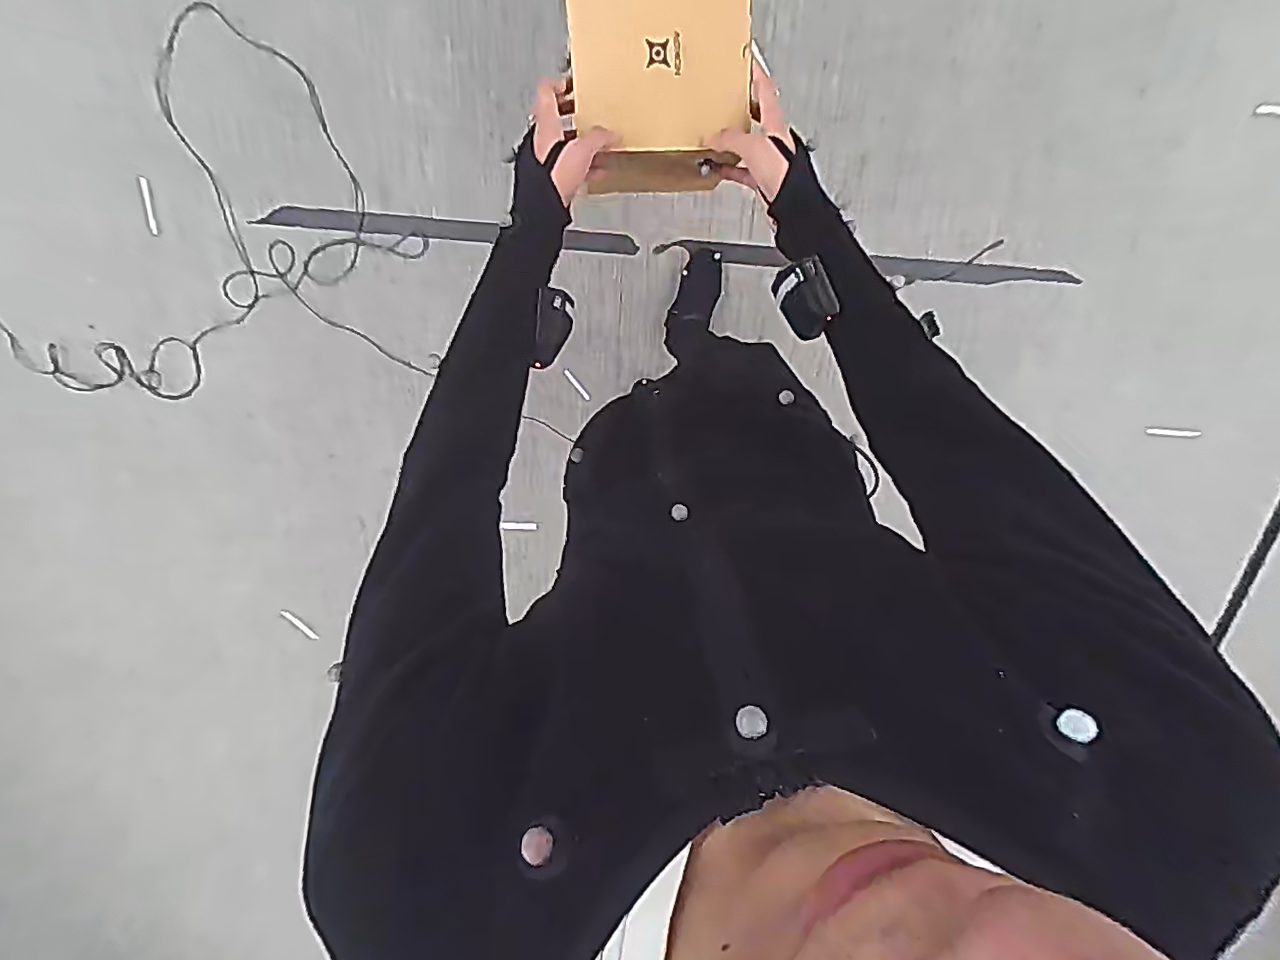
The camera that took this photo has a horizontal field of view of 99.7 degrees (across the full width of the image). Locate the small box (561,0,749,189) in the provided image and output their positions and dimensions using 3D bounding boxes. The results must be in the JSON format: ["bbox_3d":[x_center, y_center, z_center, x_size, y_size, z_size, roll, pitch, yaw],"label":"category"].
[{"bbox_3d":[0.009,-0.424,0.584,0.179,0.176,0.168,-5,106,-6],"label":"small box"}]
